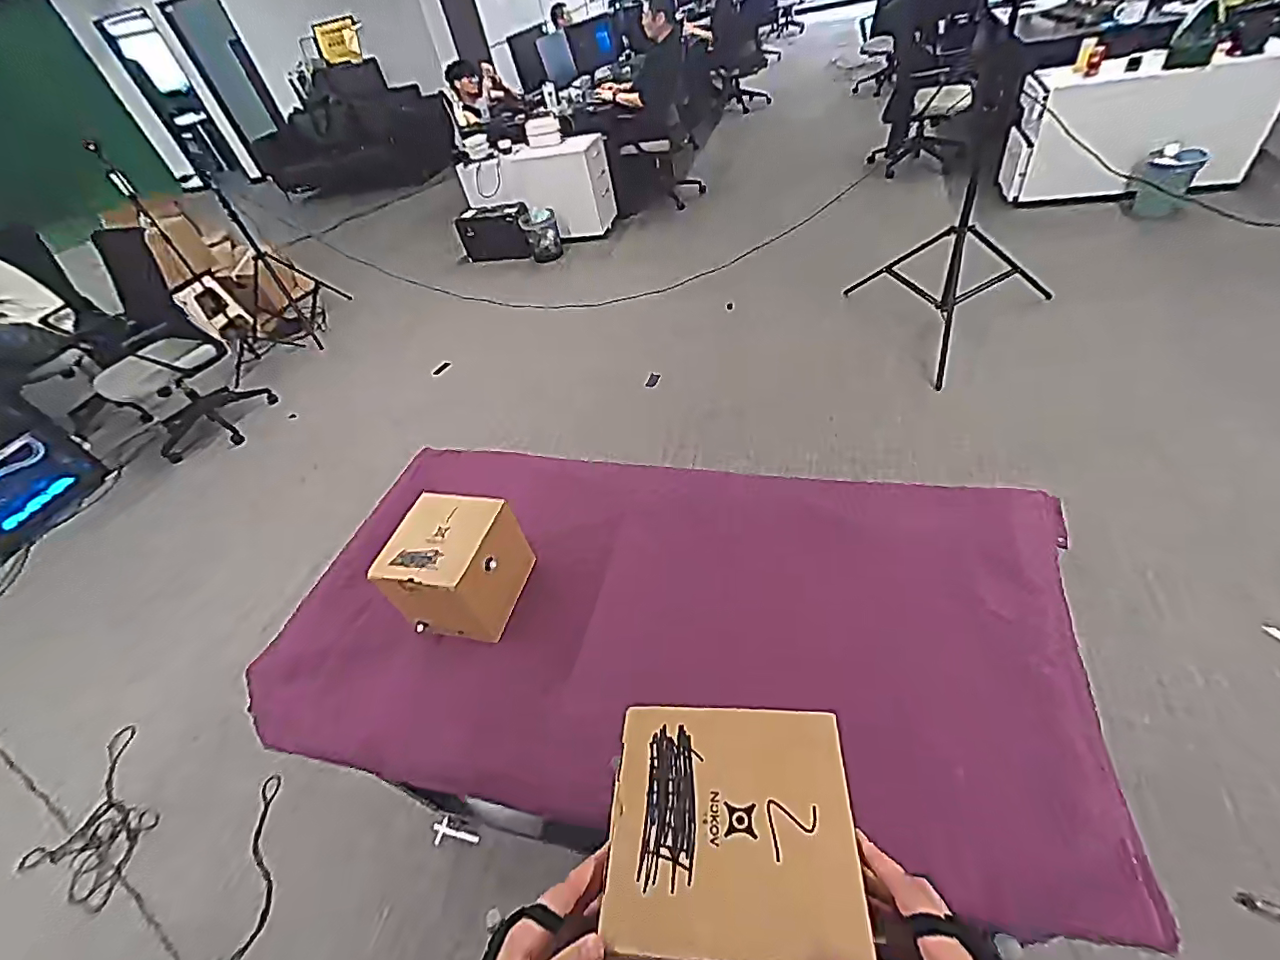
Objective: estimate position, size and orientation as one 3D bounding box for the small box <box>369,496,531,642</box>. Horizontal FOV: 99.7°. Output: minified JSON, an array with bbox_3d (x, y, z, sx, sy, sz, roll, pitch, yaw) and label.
[{"bbox_3d":[-0.305,0.151,0.914,0.168,0.176,0.179,4,47,17],"label":"small box"}]
